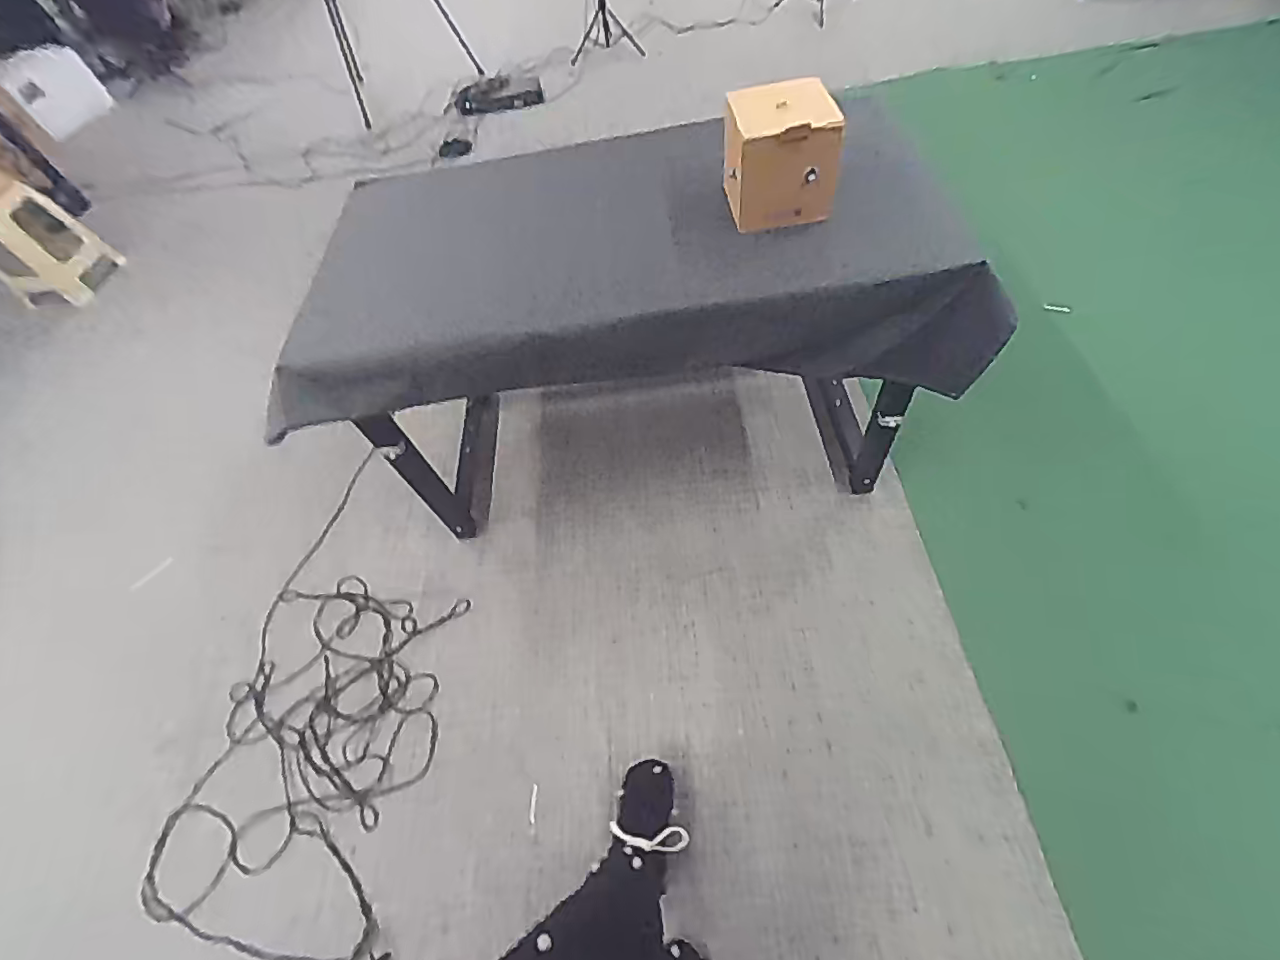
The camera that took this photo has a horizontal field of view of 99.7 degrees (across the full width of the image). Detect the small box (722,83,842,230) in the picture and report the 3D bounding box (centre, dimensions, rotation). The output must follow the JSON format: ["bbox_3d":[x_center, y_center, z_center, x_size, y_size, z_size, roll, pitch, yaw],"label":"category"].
[{"bbox_3d":[0.242,-0.566,0.965,0.168,0.176,0.179,-8,55,2],"label":"small box"}]
